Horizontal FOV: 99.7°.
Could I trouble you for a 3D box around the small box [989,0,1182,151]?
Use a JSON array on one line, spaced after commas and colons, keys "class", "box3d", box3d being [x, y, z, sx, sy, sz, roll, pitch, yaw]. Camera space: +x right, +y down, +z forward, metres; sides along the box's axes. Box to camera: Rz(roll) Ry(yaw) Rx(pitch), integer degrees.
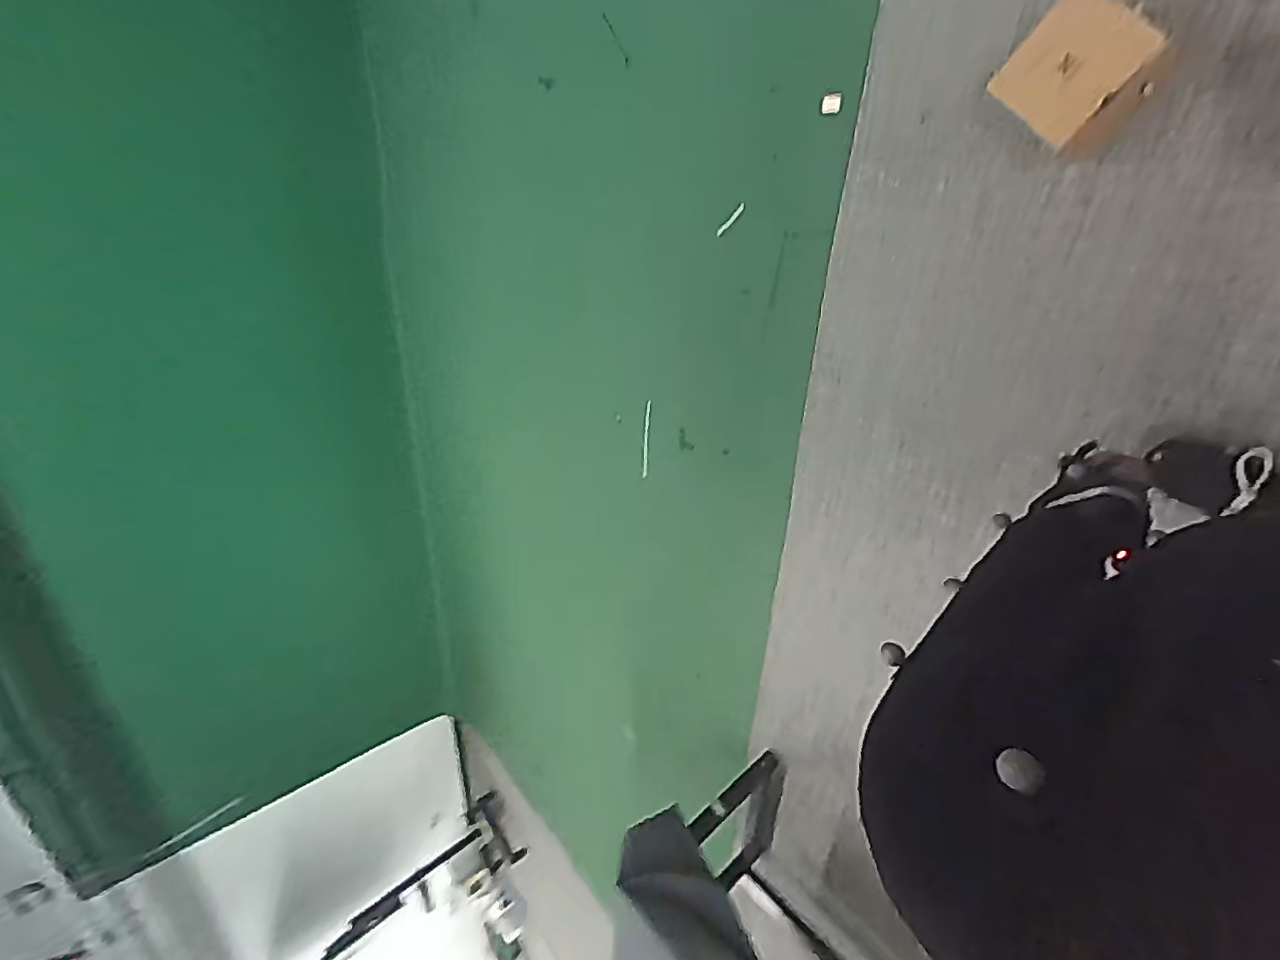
[{"class": "small box", "box3d": [0.737, -0.677, 0.896, 0.179, 0.176, 0.168, 58, 139, 18]}]
